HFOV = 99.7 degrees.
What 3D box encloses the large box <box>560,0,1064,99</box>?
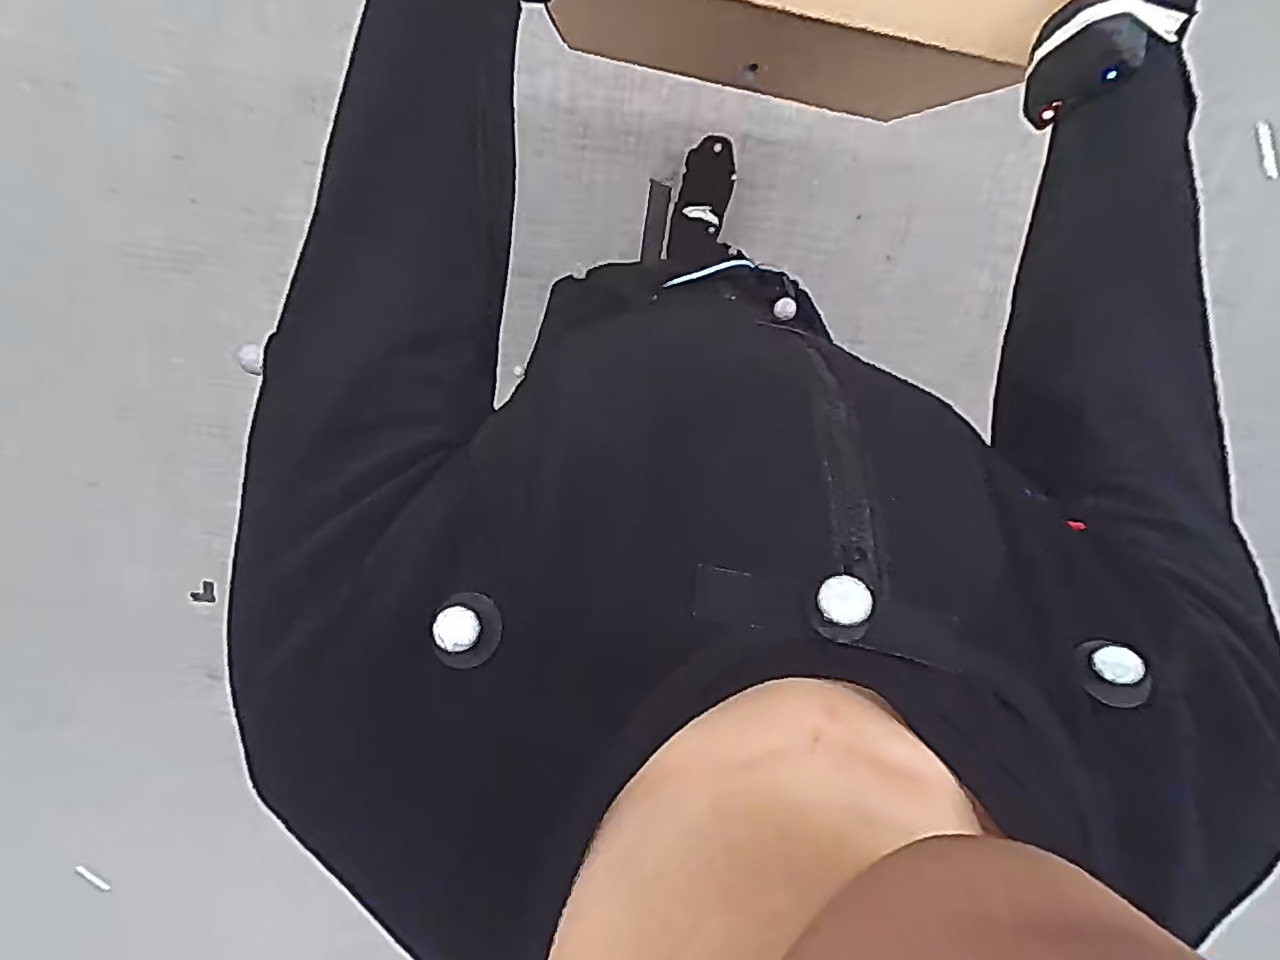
[{"bbox_3d":[0.141,-0.558,0.455,0.408,0.320,0.320,10,117,-4],"label":"large box"}]
